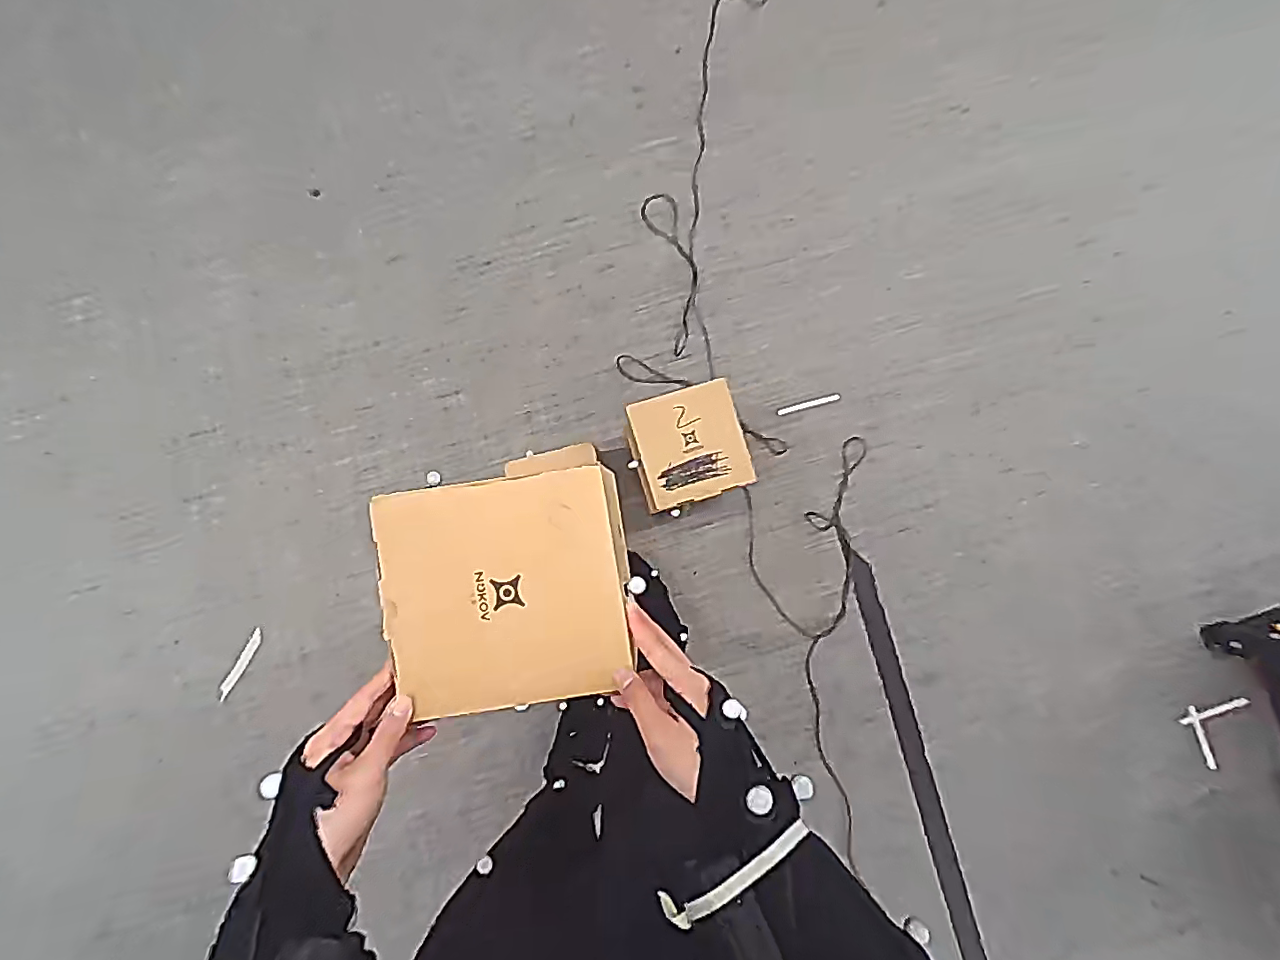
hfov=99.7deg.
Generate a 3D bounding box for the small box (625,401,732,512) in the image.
[{"bbox_3d":[0.069,-0.039,1.089,0.168,0.176,0.179,-17,87,-2],"label":"small box"}]

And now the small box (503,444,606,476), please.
[{"bbox_3d":[-0.153,0.035,1.080,0.179,0.176,0.168,-12,86,0],"label":"small box"}]

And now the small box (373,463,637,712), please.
[{"bbox_3d":[-0.100,0.079,0.478,0.179,0.176,0.168,-9,89,1],"label":"small box"}]
